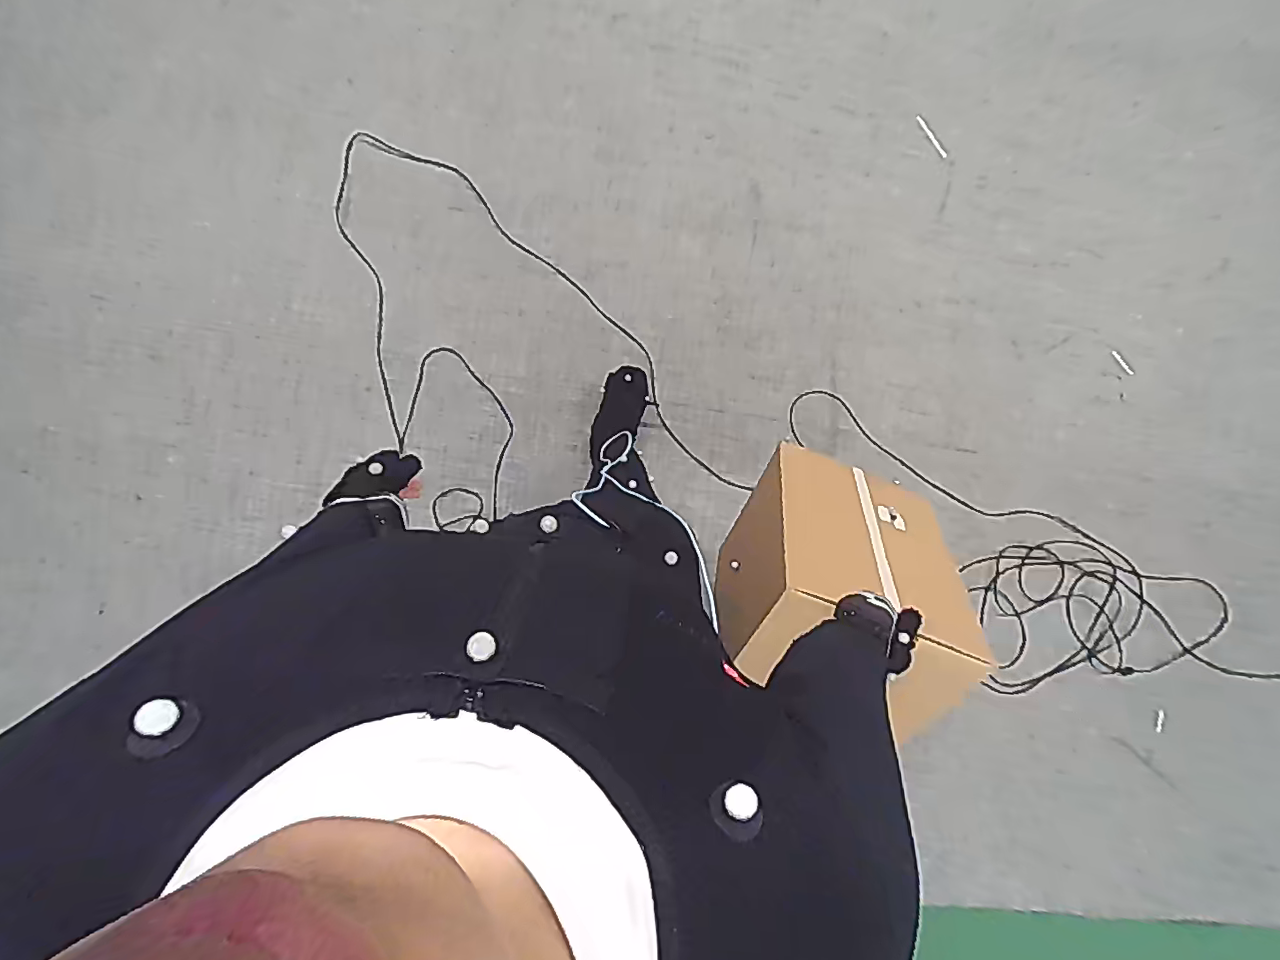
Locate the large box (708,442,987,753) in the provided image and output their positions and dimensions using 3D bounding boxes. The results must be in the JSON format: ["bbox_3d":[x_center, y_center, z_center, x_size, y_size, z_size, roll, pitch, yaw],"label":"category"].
[{"bbox_3d":[0.331,0.199,0.989,0.320,0.408,0.320,22,125,-2],"label":"large box"}]
